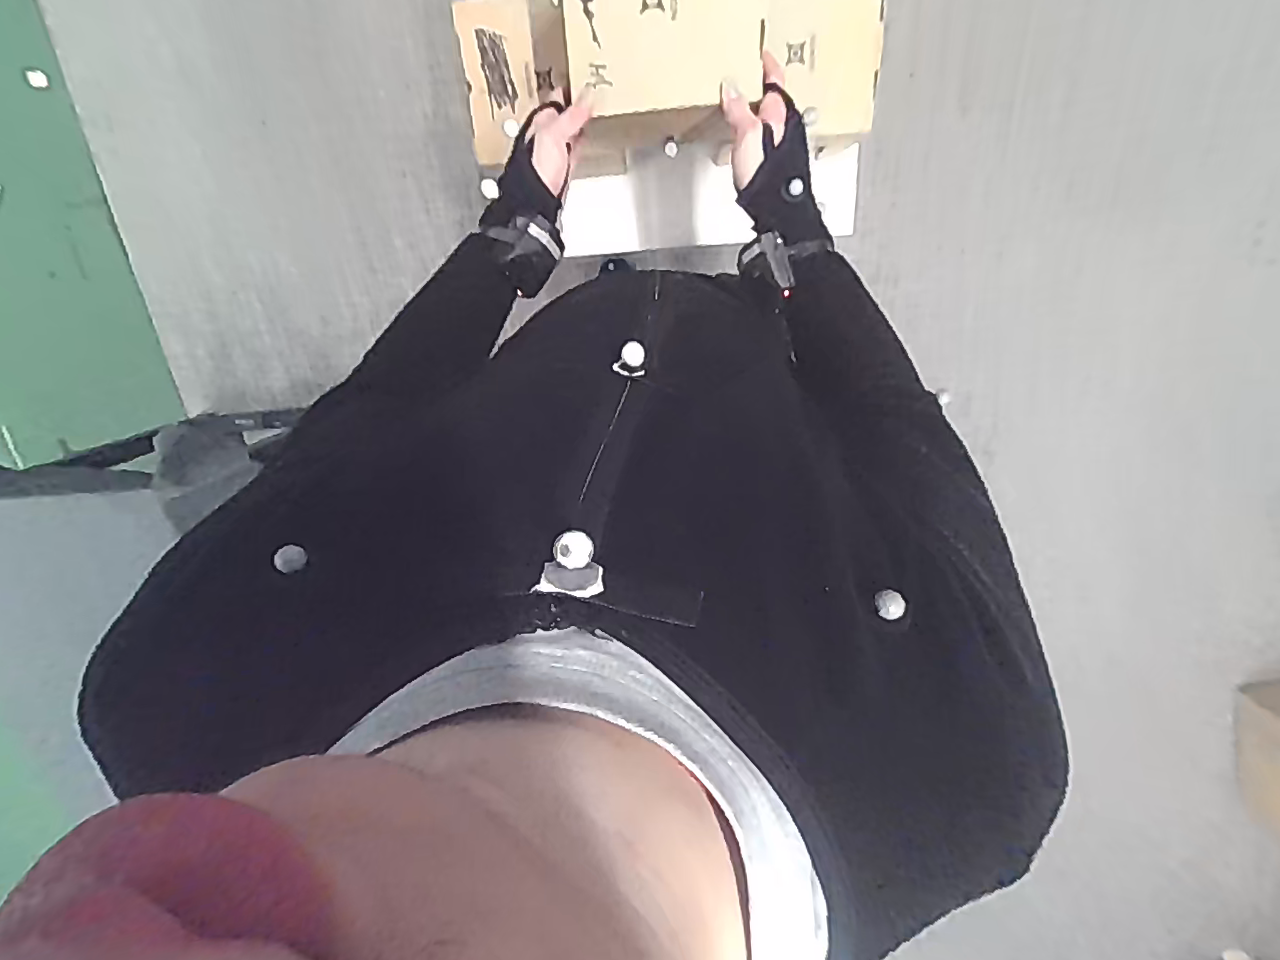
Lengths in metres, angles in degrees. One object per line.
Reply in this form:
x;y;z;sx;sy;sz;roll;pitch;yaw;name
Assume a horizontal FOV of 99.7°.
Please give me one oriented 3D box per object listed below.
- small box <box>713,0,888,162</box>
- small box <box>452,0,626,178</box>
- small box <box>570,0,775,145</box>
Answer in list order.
0.185;-0.504;0.670;0.179;0.176;0.168;-1;112;5;small box
-0.114;-0.494;0.690;0.179;0.176;0.168;-3;112;2;small box
0.029;-0.440;0.530;0.179;0.176;0.168;-2;113;3;small box
